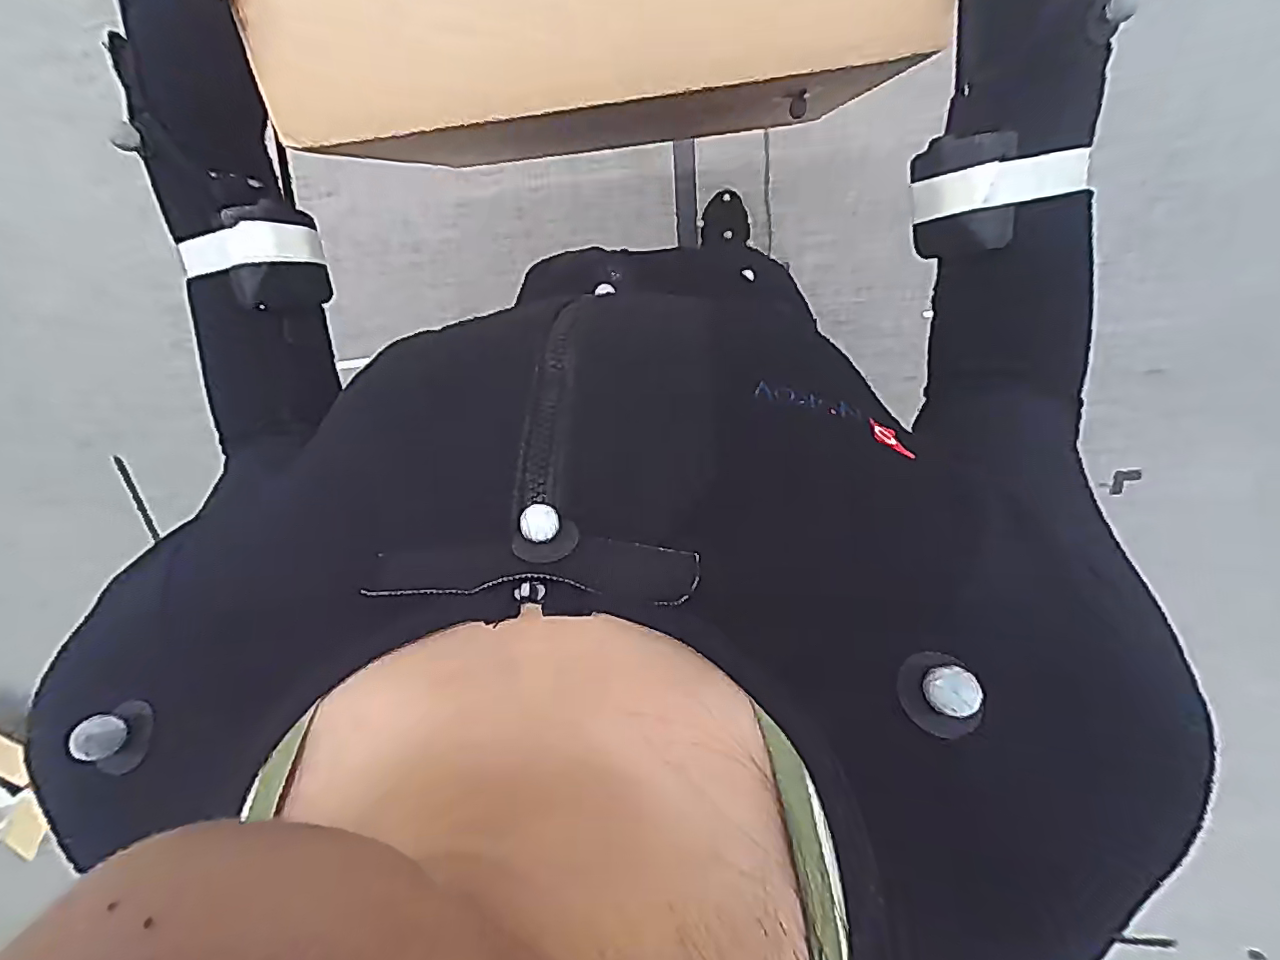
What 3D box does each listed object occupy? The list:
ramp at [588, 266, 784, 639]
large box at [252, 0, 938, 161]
[{"bbox_3d":[0.134,-0.032,1.458,0.509,0.206,0.991,-3,112,8],"label":"ramp"},{"bbox_3d":[-0.034,-0.440,0.396,0.408,0.320,0.320,-4,117,5],"label":"large box"}]
